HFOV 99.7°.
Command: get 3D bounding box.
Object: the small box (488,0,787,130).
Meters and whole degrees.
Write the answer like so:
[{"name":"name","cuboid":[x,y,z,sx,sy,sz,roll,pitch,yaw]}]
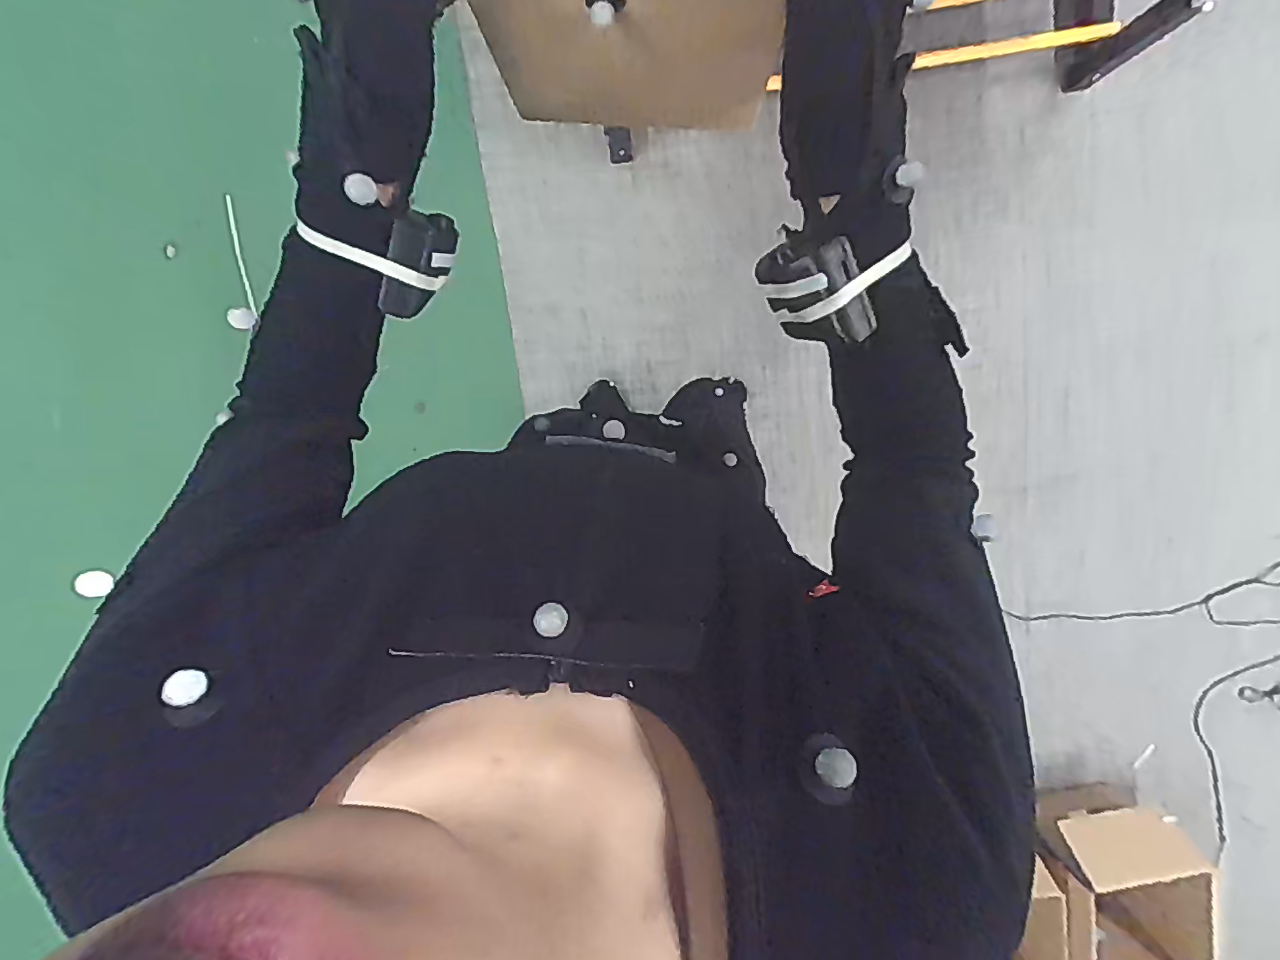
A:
[{"name":"small box","cuboid":[0.001,-0.335,0.317,0.179,0.176,0.168,4,97,1]}]
